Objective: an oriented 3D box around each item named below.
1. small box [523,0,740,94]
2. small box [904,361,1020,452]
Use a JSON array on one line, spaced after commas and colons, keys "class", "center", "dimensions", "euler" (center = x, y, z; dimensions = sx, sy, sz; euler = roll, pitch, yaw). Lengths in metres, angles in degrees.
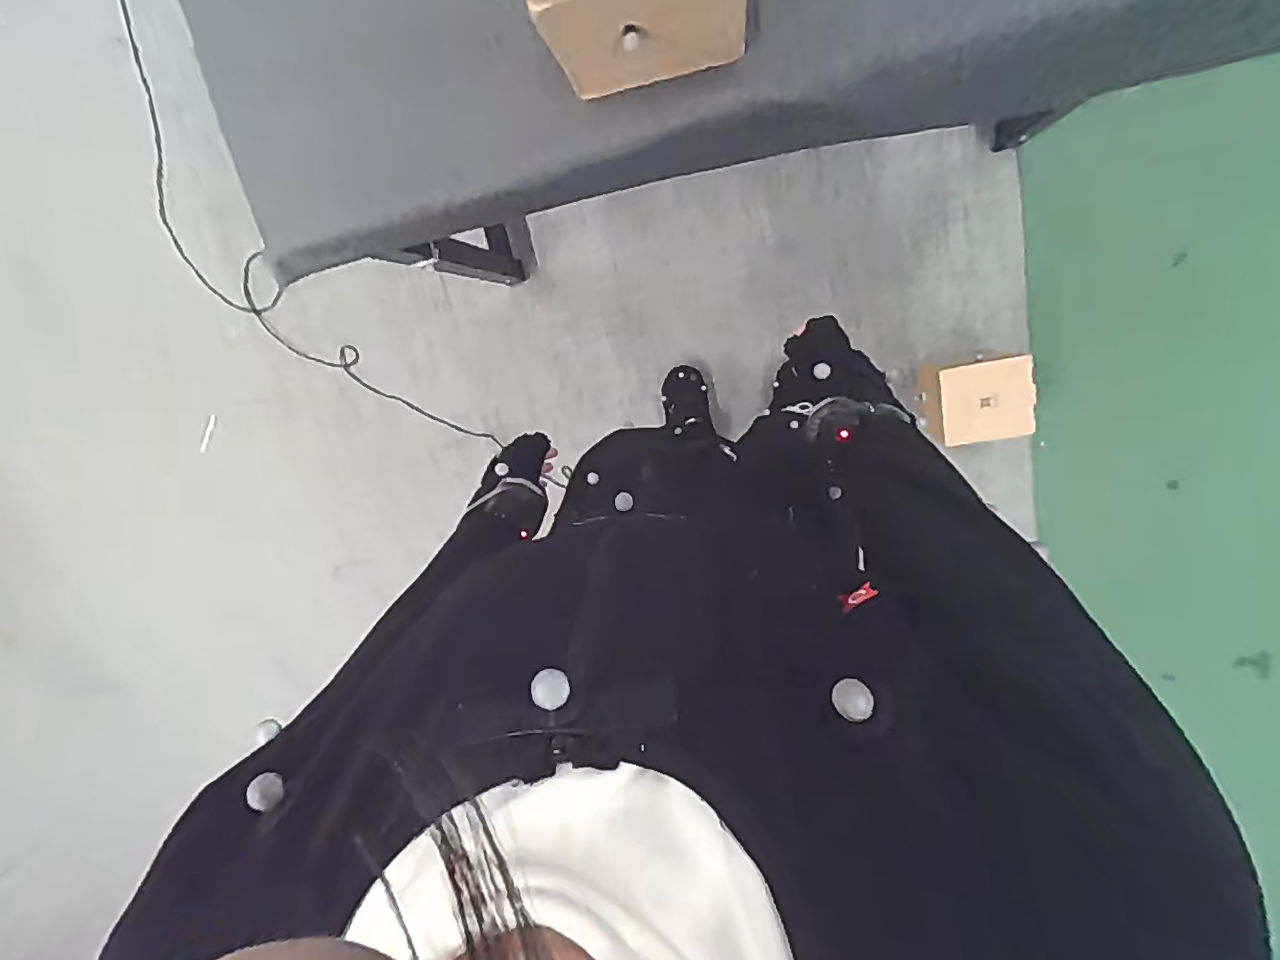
[{"class": "small box", "center": [-0.006, -0.480, 0.477], "dimensions": [0.179, 0.176, 0.168], "euler": [-6, 103, 11]}, {"class": "small box", "center": [0.711, -0.170, 1.207], "dimensions": [0.179, 0.176, 0.168], "euler": [-8, 102, 13]}]
